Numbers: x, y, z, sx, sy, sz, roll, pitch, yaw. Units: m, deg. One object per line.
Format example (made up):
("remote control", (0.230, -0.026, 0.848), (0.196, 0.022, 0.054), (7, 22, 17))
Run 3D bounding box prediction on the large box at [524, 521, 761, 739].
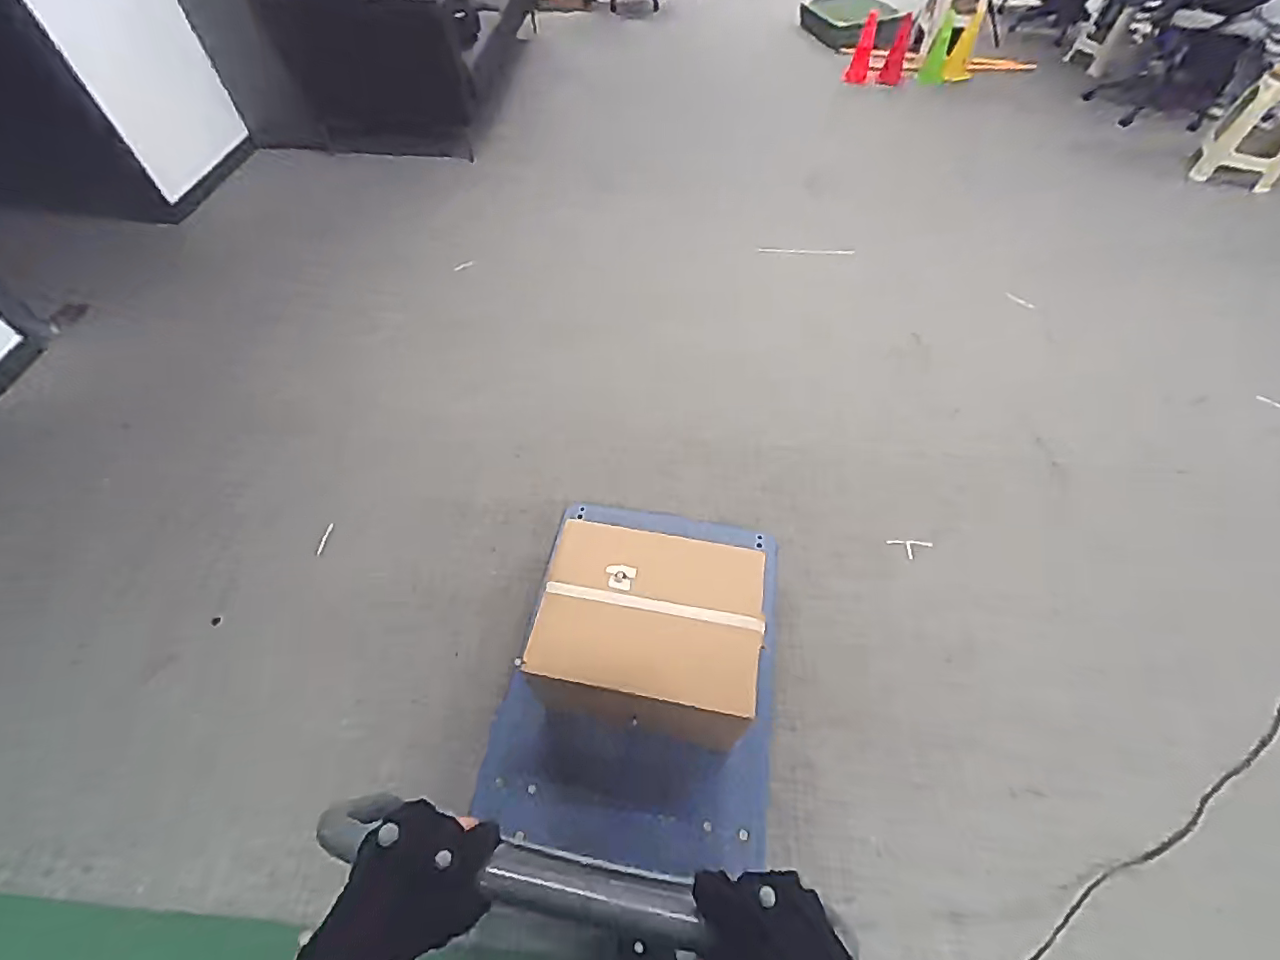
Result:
("large box", (0.023, 0.317, 1.125), (0.408, 0.320, 0.320), (8, 54, 7))
